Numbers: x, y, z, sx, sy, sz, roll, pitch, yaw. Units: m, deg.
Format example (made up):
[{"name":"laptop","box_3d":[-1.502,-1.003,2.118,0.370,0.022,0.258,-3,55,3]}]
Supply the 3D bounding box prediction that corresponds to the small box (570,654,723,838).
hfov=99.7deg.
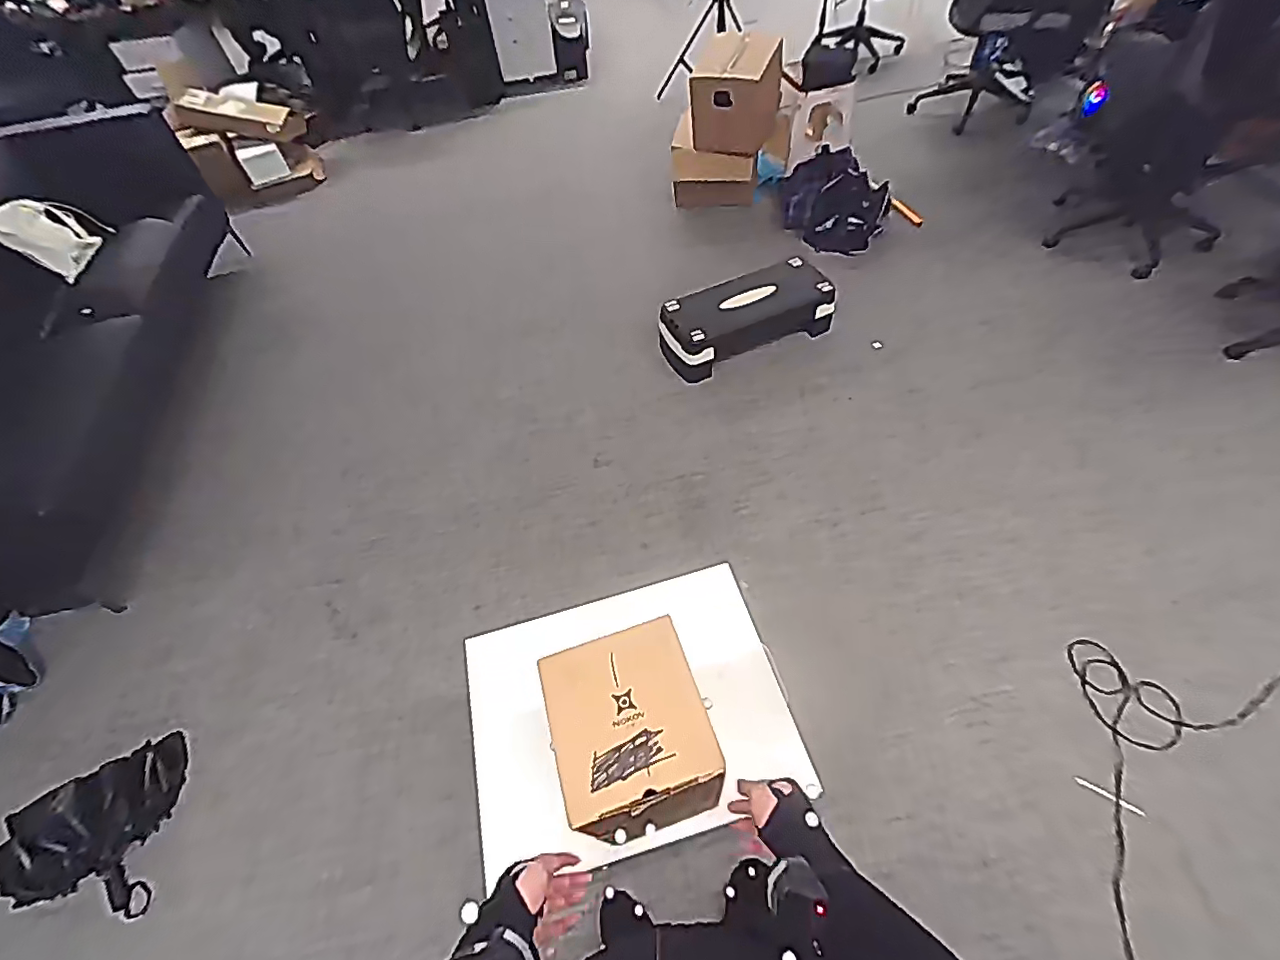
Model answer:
[{"name":"small box","box_3d":[0.008,0.384,0.778,0.168,0.176,0.179,-18,53,-7]}]
